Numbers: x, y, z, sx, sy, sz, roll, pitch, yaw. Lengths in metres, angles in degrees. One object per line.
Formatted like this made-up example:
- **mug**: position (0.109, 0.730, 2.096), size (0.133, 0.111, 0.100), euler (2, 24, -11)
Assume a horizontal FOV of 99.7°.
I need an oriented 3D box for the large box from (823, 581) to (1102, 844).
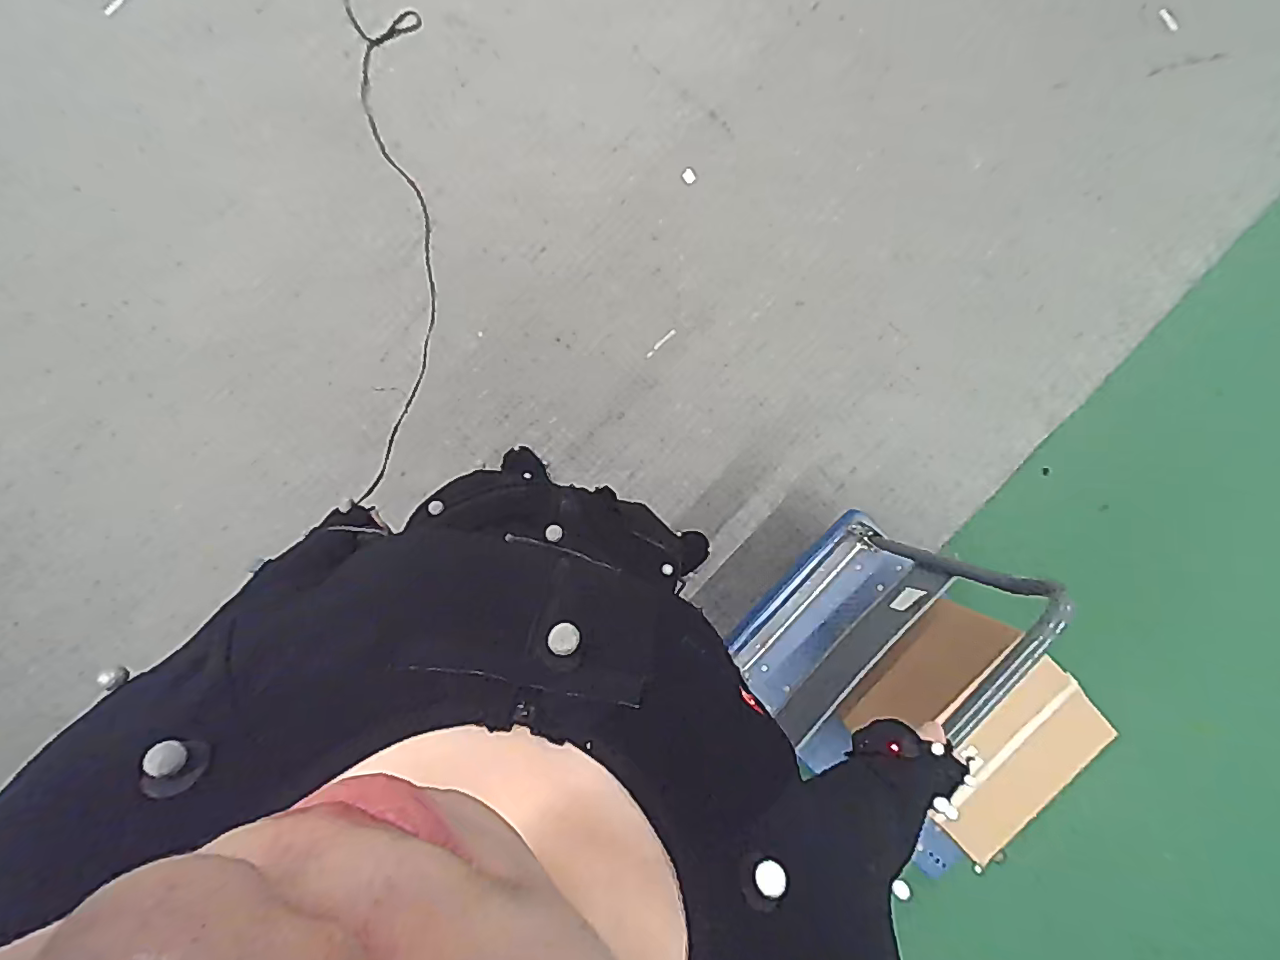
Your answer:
- **large box**: position (0.723, 0.512, 1.271), size (0.408, 0.320, 0.320), euler (-44, 95, 0)
